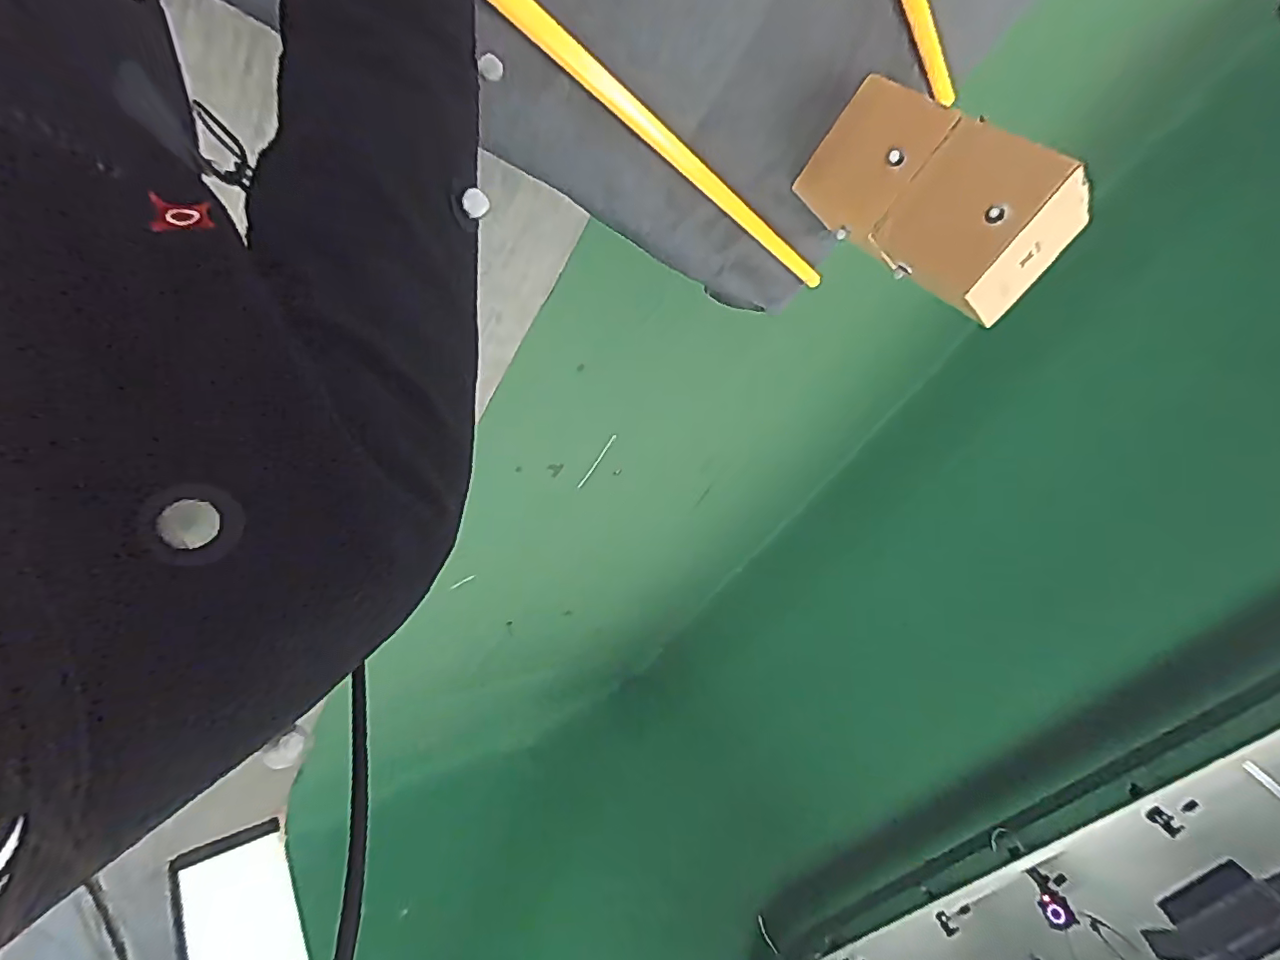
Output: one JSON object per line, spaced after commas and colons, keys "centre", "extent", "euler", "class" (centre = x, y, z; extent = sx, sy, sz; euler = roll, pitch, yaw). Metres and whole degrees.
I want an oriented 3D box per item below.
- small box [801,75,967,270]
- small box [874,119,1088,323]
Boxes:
{"centre": [0.374, -0.464, 0.827], "extent": [0.168, 0.176, 0.179], "euler": [5, 129, -50], "class": "small box"}
{"centre": [0.467, -0.355, 0.750], "extent": [0.168, 0.176, 0.179], "euler": [4, 130, -48], "class": "small box"}
